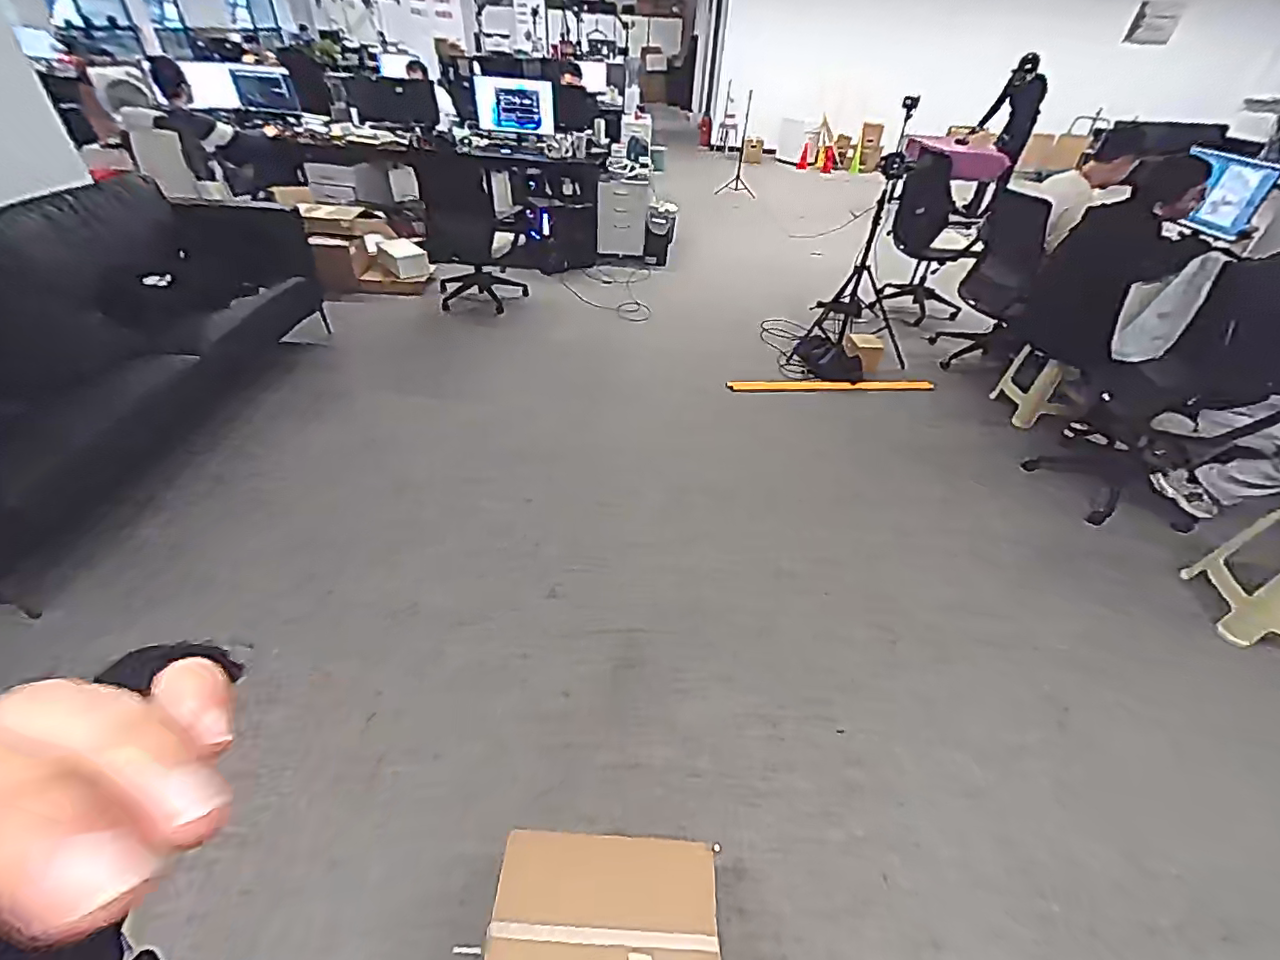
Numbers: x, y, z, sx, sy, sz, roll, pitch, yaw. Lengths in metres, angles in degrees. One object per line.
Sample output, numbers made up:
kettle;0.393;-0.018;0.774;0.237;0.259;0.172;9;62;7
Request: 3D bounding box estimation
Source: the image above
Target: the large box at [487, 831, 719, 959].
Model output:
large box;-0.070;0.914;1.036;0.408;0.320;0.320;4;39;0
